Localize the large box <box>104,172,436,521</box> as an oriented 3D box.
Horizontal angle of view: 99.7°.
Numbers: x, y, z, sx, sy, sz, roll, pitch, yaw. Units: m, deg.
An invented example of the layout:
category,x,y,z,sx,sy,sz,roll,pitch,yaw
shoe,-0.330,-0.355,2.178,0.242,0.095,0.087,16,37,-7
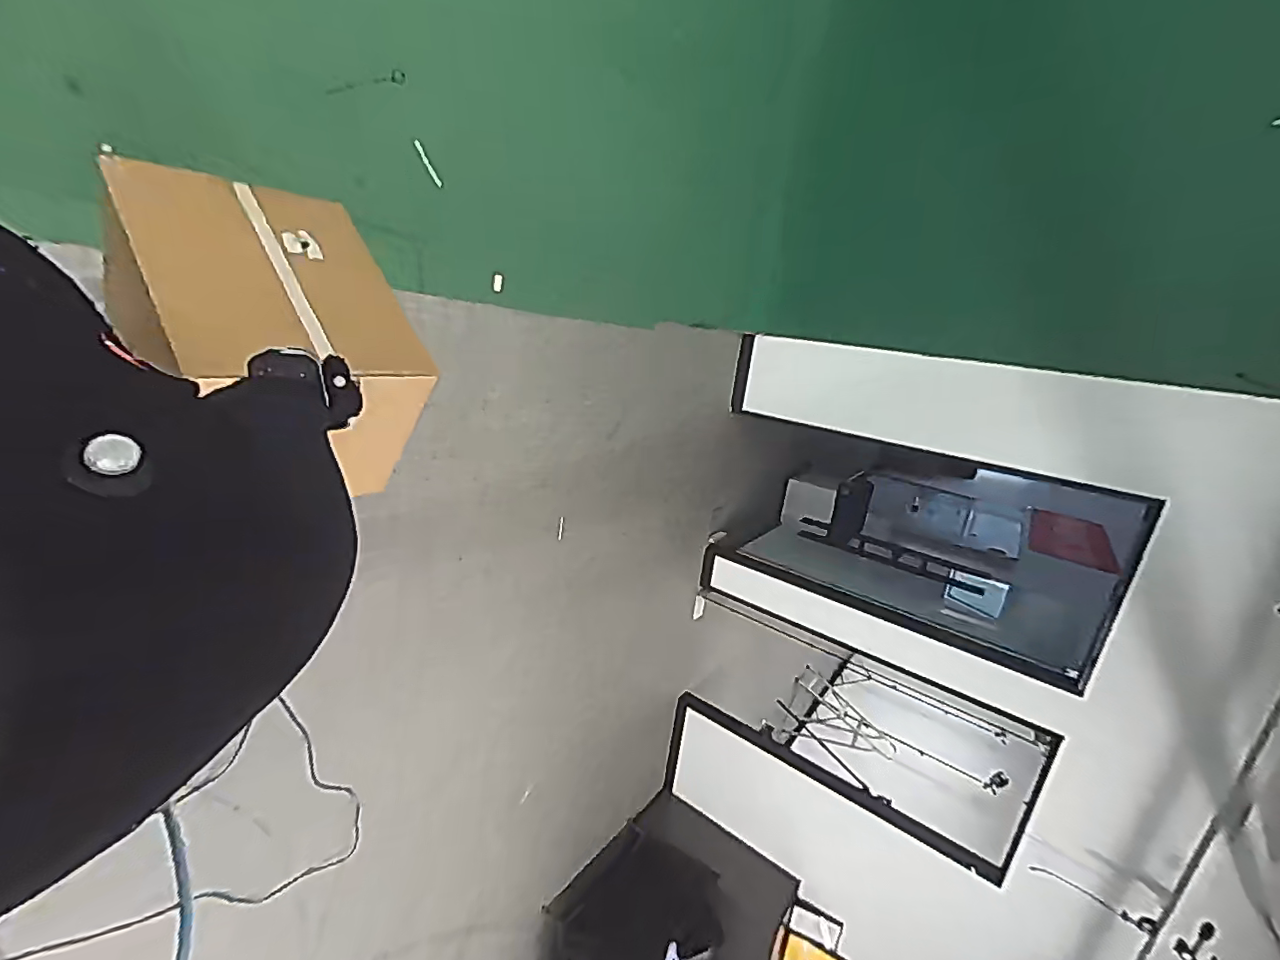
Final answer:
category,x,y,z,sx,sy,sz,roll,pitch,yaw
large box,-0.601,-0.202,0.879,0.320,0.408,0.320,-13,152,-50
